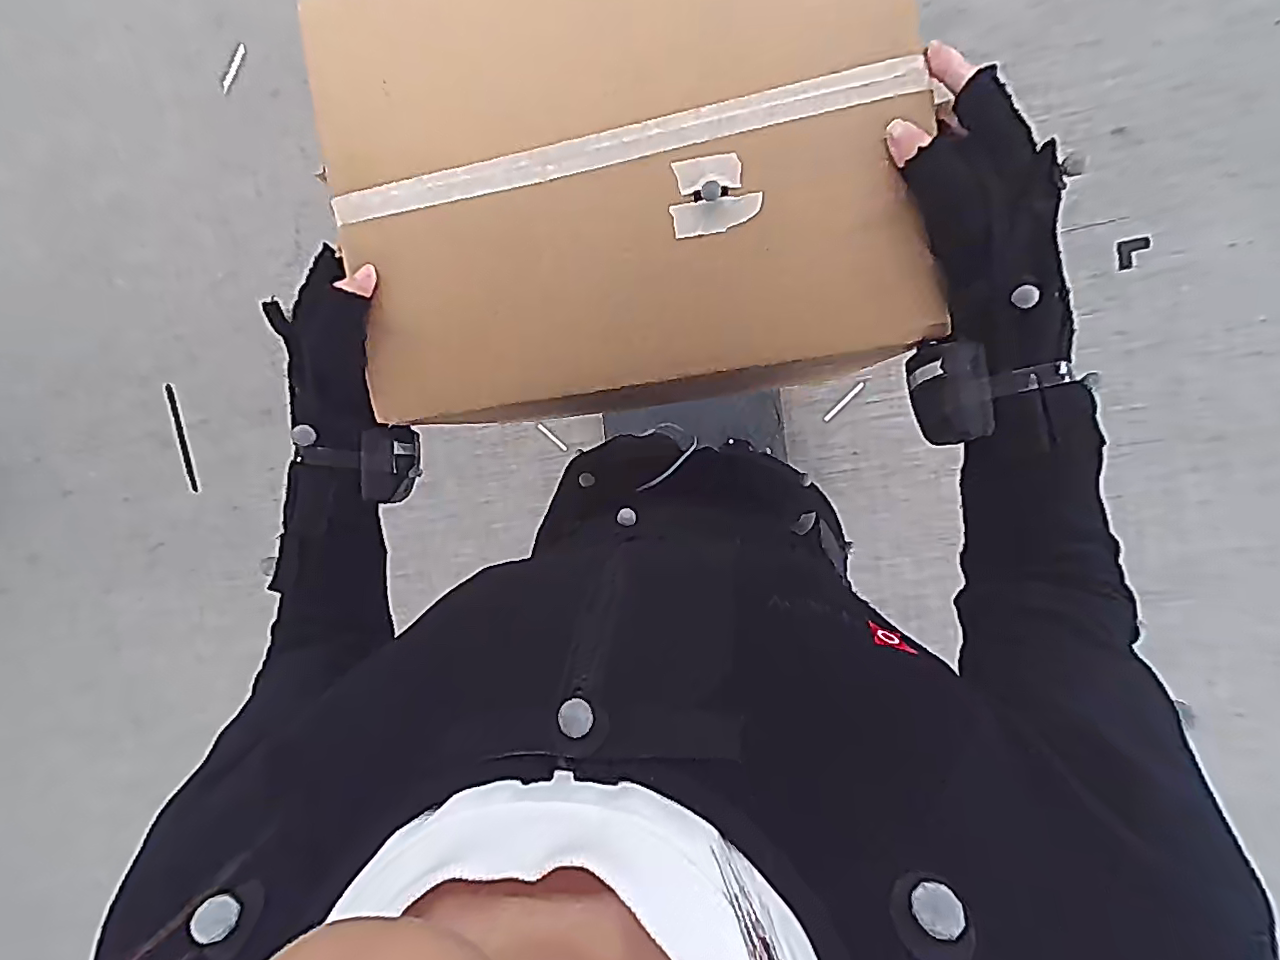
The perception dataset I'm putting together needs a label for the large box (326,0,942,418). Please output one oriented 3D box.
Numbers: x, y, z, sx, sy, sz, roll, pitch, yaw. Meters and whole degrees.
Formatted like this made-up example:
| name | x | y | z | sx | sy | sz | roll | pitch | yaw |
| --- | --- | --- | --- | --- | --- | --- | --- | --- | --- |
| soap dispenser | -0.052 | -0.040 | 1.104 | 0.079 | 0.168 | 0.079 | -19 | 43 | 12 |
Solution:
| name | x | y | z | sx | sy | sz | roll | pitch | yaw |
| --- | --- | --- | --- | --- | --- | --- | --- | --- | --- |
| large box | 0.004 | -0.244 | 0.522 | 0.408 | 0.320 | 0.320 | -8 | 96 | 9 |
